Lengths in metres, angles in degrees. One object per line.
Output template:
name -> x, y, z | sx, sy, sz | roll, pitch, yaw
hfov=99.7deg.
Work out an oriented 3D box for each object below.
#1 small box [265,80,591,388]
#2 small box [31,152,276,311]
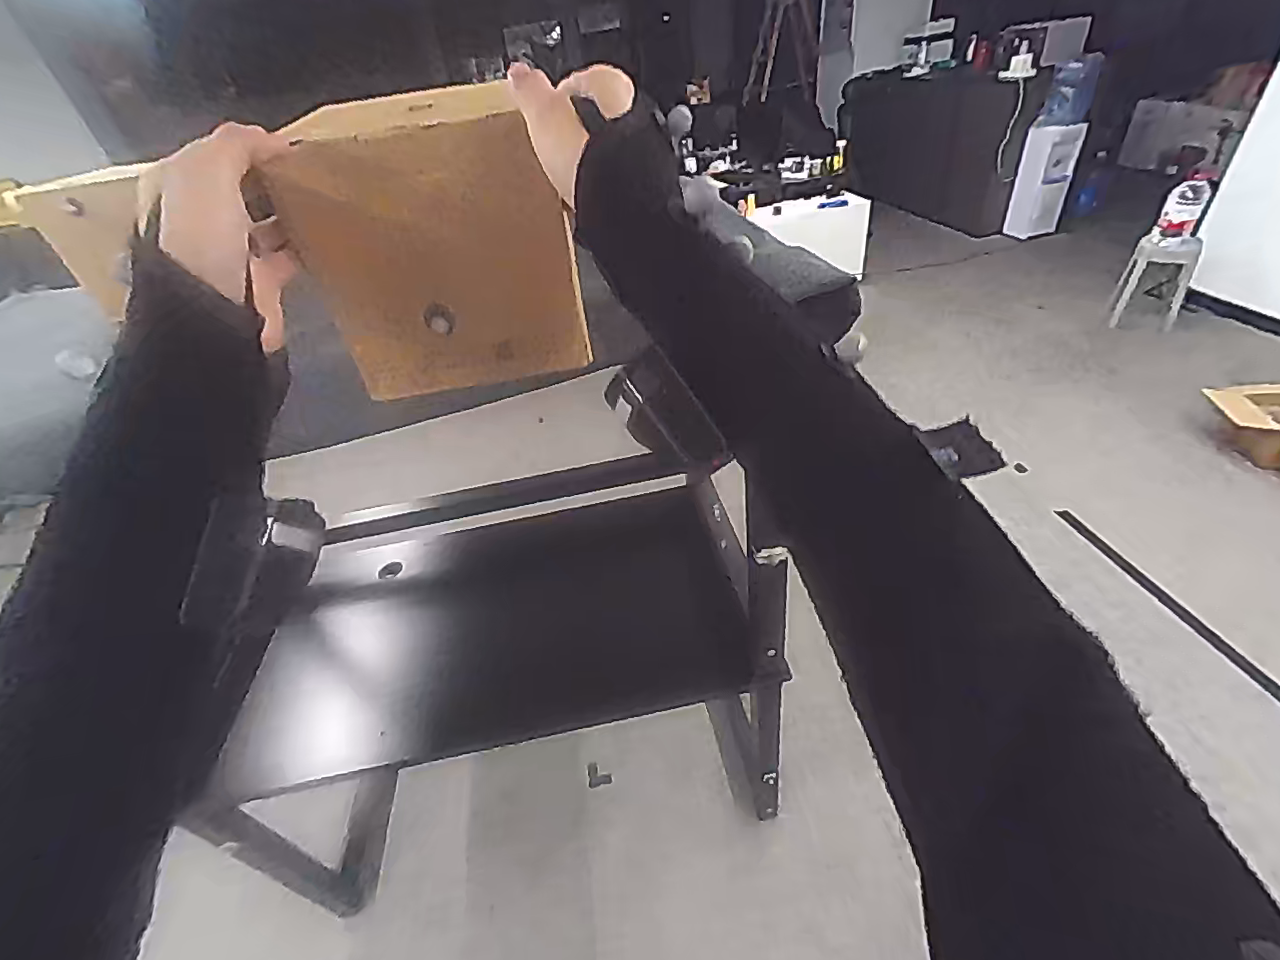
small box -> -0.135, -0.193, 0.418 | 0.168, 0.176, 0.179 | -10, 41, -3
small box -> -0.675, -0.360, 0.784 | 0.168, 0.176, 0.179 | -8, 38, 2
